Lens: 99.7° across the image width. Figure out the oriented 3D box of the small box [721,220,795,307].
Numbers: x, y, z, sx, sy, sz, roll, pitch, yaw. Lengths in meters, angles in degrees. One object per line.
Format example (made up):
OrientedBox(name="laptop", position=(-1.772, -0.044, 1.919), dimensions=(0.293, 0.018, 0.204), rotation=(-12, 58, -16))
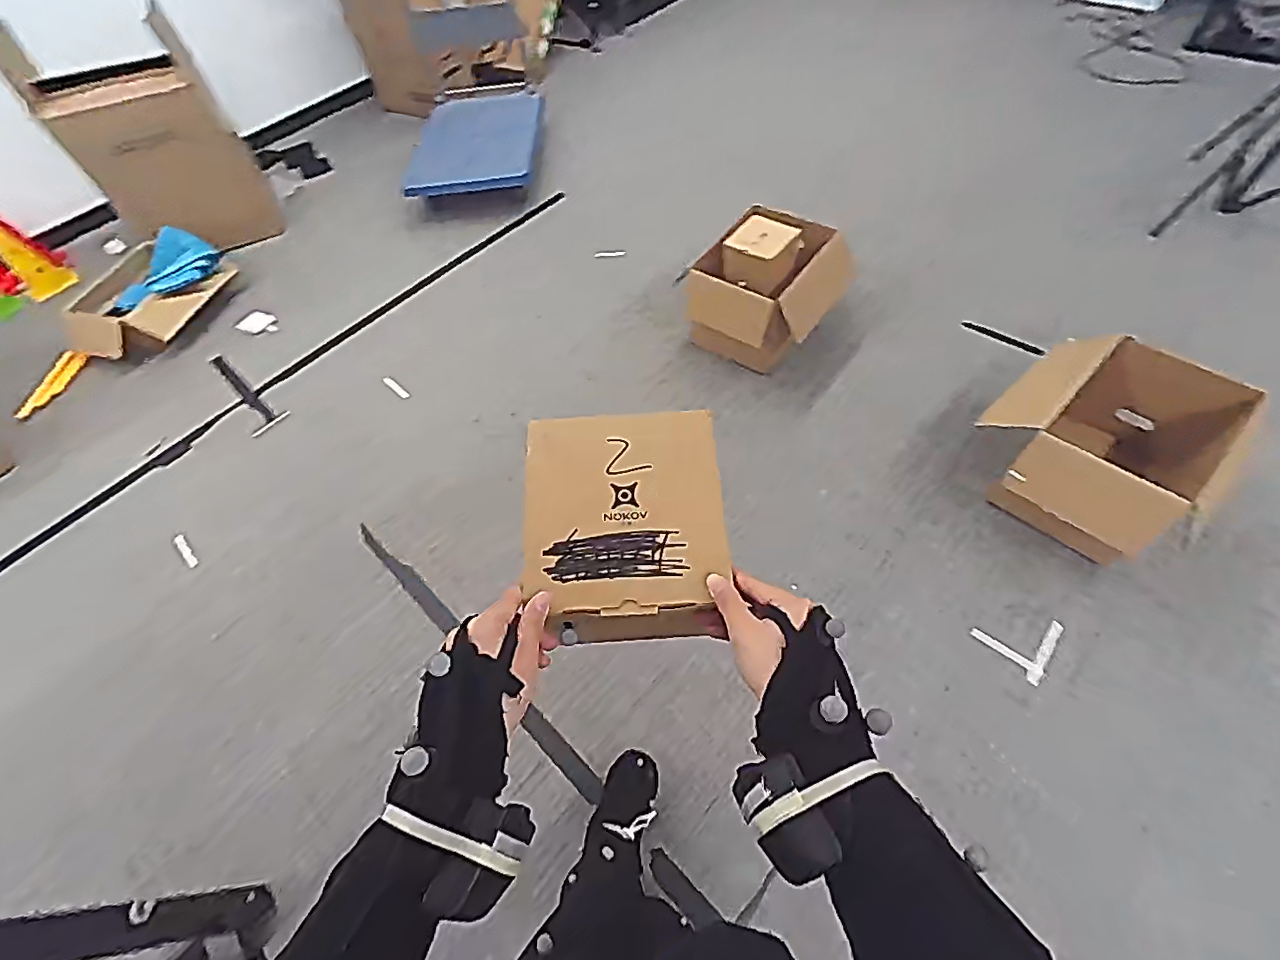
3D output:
OrientedBox(name="small box", position=(0.368, -0.688, 1.724), dimensions=(0.168, 0.176, 0.179), rotation=(32, 66, 25))
